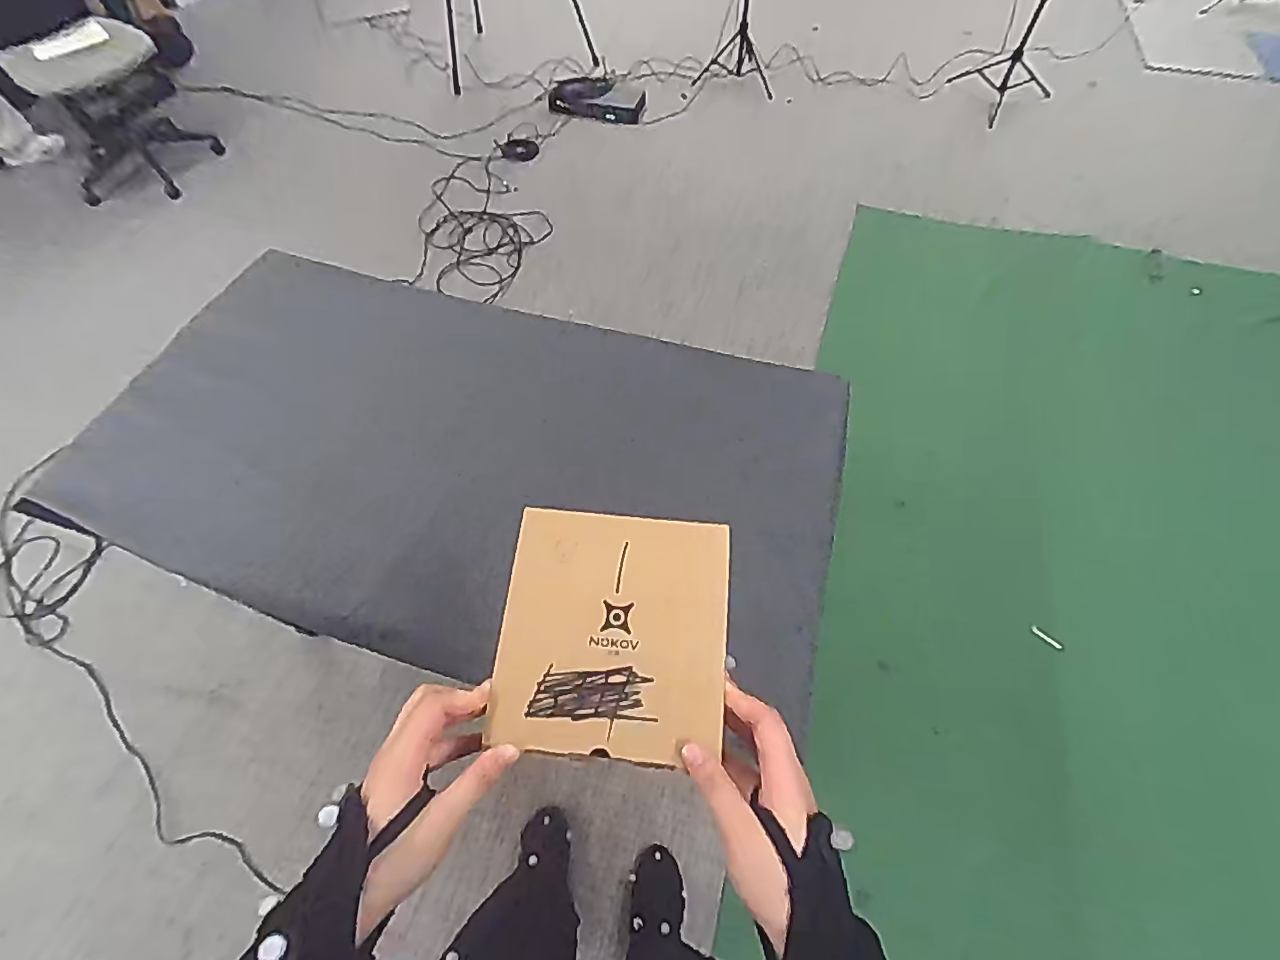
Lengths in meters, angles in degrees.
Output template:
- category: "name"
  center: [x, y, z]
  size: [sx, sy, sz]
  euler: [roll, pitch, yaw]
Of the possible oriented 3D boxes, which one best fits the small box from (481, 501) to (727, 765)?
- category: "small box"
  center: [-0.020, 0.132, 0.470]
  size: [0.168, 0.176, 0.179]
  euler: [5, 69, 2]
